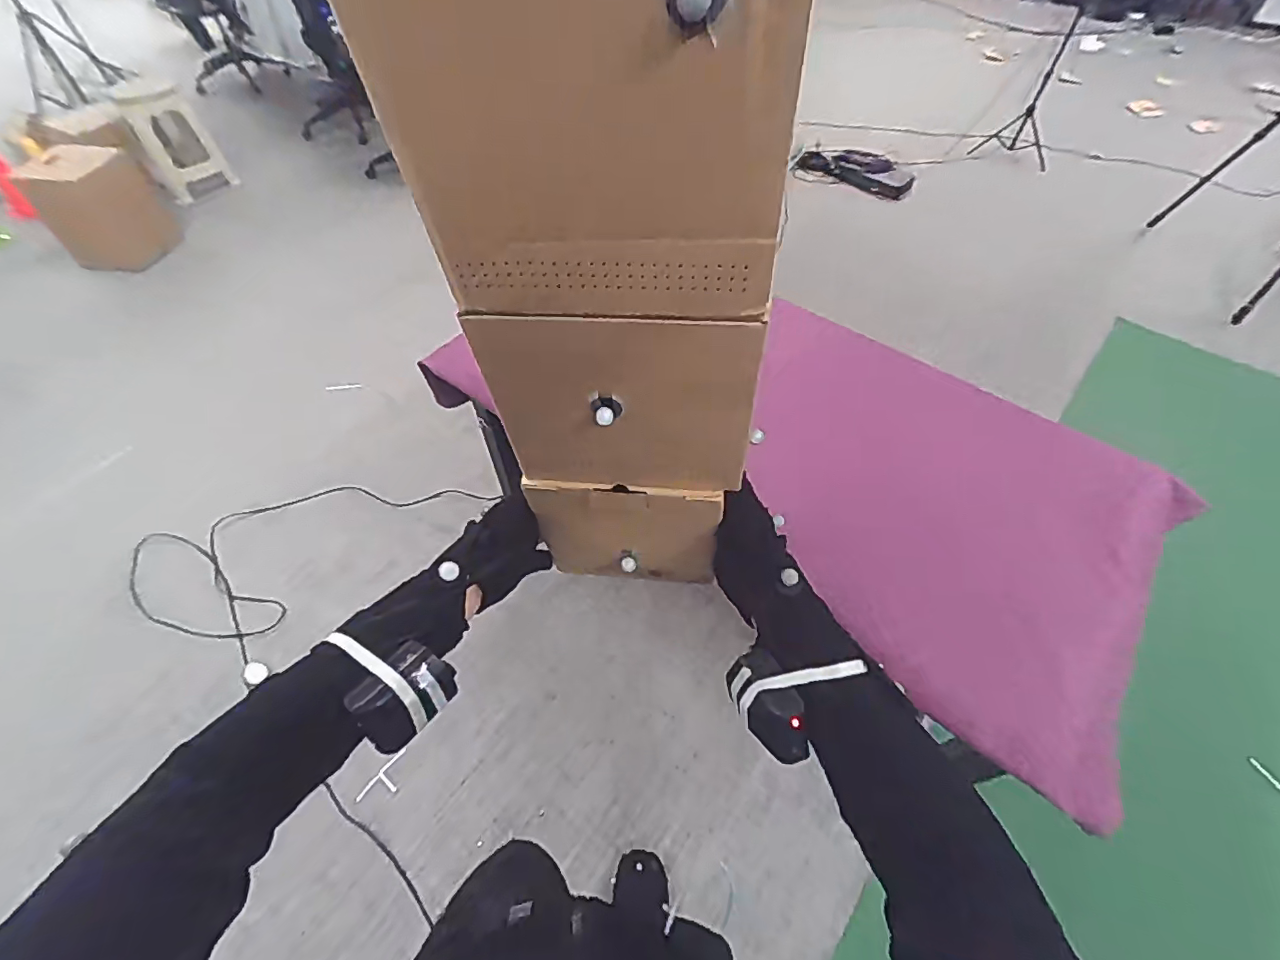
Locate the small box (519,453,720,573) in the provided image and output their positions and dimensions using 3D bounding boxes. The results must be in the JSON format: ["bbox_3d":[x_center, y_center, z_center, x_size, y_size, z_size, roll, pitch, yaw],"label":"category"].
[{"bbox_3d":[-0.004,-0.025,0.545,0.168,0.176,0.179,3,57,8],"label":"small box"}]

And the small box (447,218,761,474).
[{"bbox_3d":[-0.009,-0.121,0.407,0.179,0.176,0.168,6,55,8],"label":"small box"}]

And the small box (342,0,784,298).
[{"bbox_3d":[-0.023,-0.210,0.276,0.179,0.176,0.168,3,56,6],"label":"small box"}]
